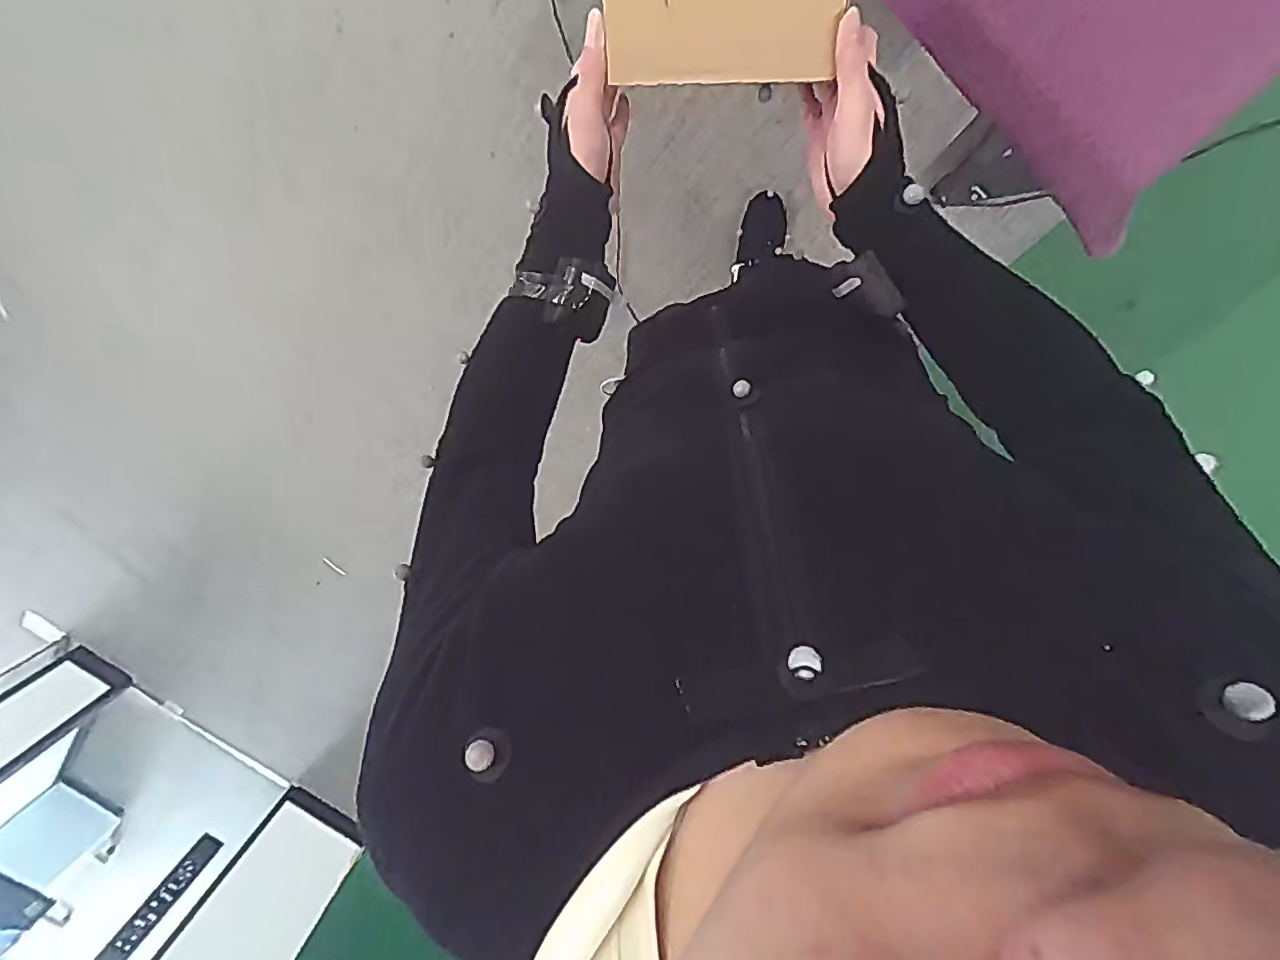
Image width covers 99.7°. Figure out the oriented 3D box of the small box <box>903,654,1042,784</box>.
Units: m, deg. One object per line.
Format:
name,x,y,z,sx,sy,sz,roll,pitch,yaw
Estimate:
small box,0.713,0.512,1.185,0.179,0.176,0.168,41,114,-7
